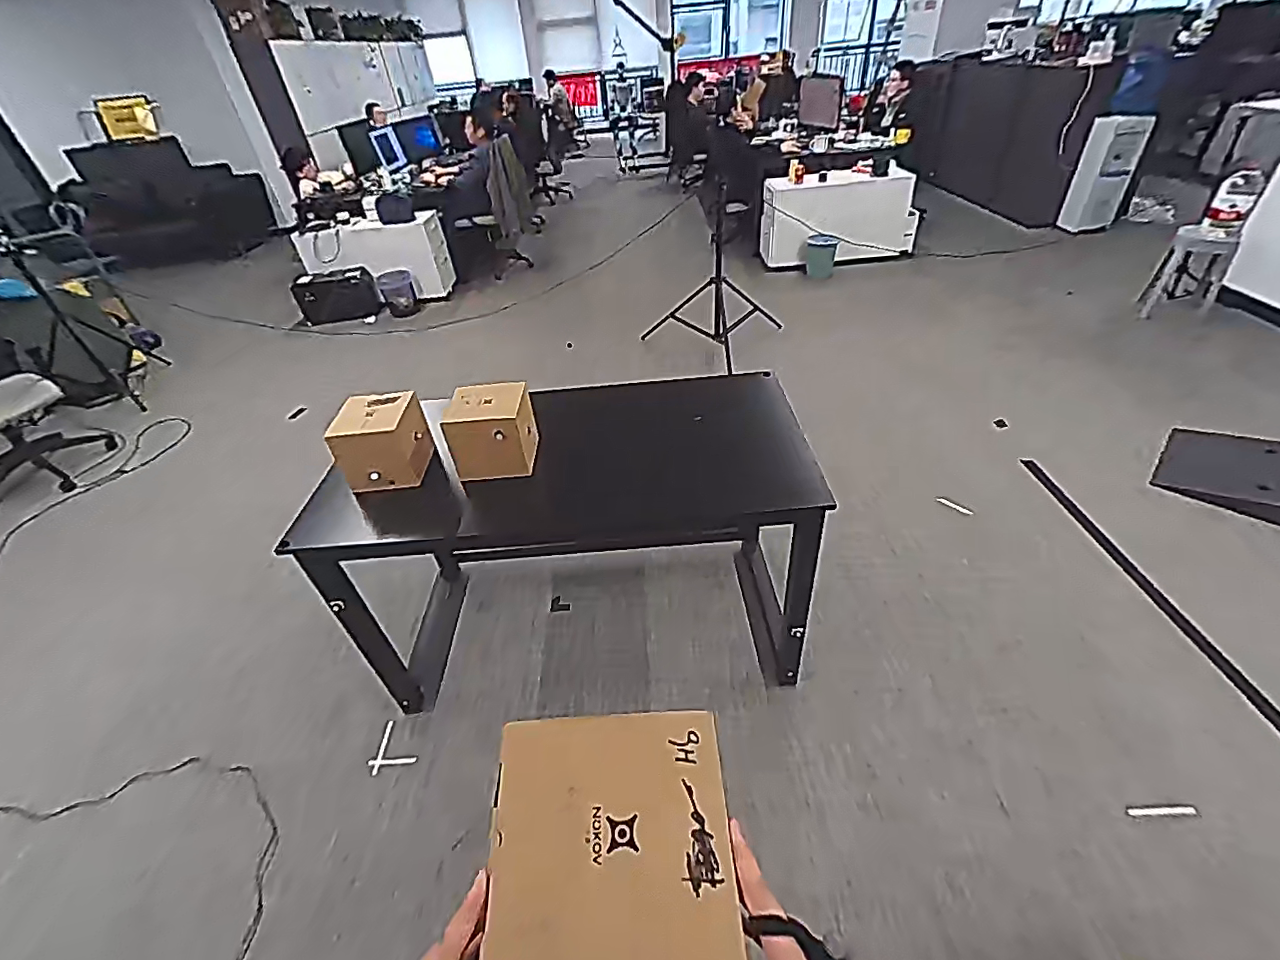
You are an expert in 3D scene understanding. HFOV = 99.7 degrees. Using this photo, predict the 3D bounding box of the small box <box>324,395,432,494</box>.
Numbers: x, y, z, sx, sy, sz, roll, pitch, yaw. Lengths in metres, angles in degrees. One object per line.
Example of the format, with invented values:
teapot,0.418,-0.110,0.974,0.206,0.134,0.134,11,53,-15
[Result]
small box,-0.626,-0.087,1.321,0.168,0.176,0.179,-6,40,0

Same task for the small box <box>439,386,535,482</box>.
small box,-0.360,-0.111,1.315,0.179,0.176,0.168,-5,38,1

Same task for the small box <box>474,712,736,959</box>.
small box,-0.024,0.314,0.461,0.179,0.176,0.168,-3,49,-1
